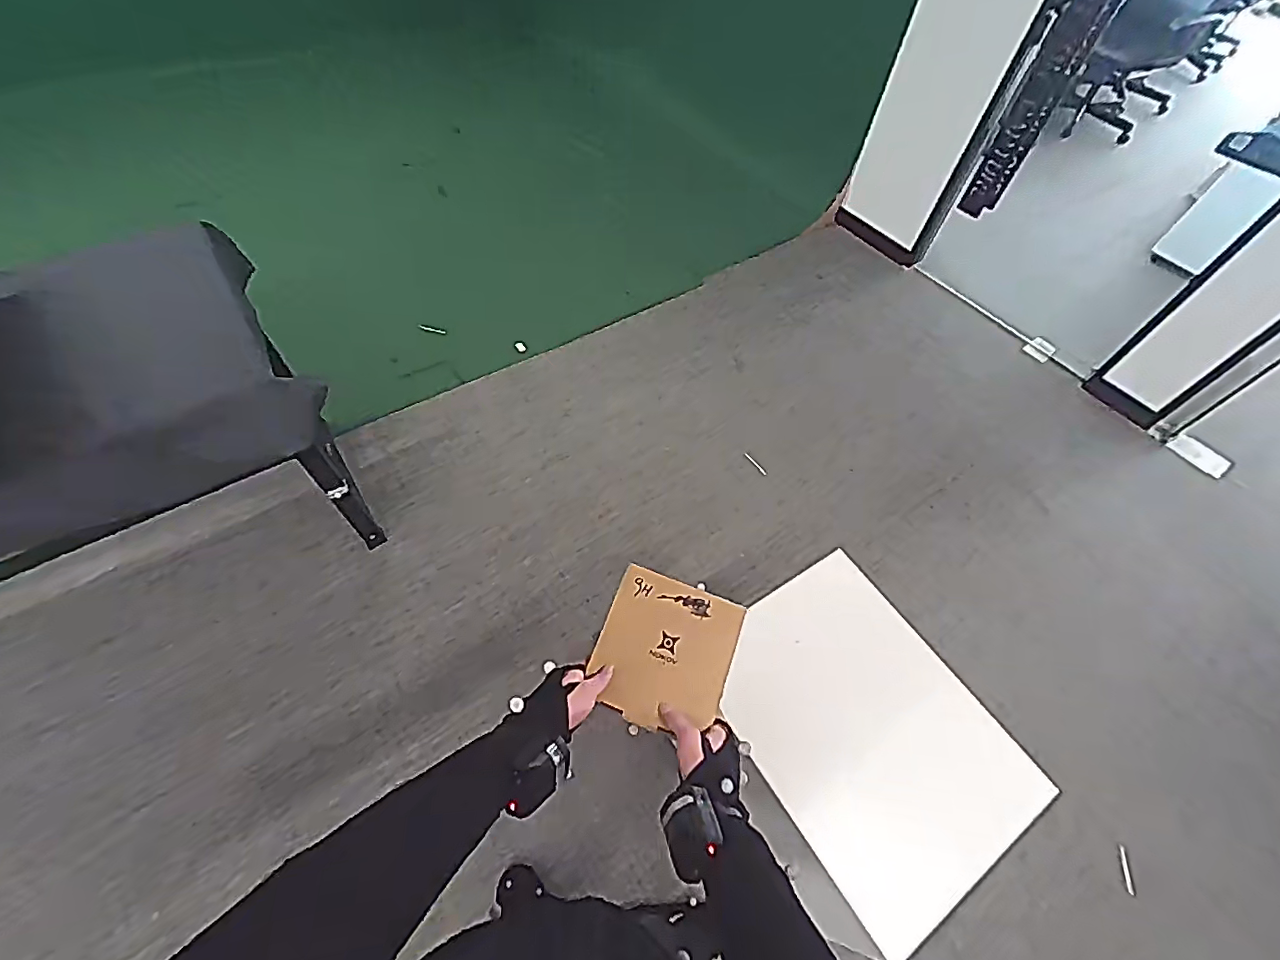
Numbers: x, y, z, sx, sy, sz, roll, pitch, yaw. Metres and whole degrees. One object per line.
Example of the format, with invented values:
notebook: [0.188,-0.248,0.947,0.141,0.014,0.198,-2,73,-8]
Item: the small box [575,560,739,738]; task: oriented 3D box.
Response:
small box: [0.023,0.239,0.749,0.168,0.176,0.179,18,65,6]
